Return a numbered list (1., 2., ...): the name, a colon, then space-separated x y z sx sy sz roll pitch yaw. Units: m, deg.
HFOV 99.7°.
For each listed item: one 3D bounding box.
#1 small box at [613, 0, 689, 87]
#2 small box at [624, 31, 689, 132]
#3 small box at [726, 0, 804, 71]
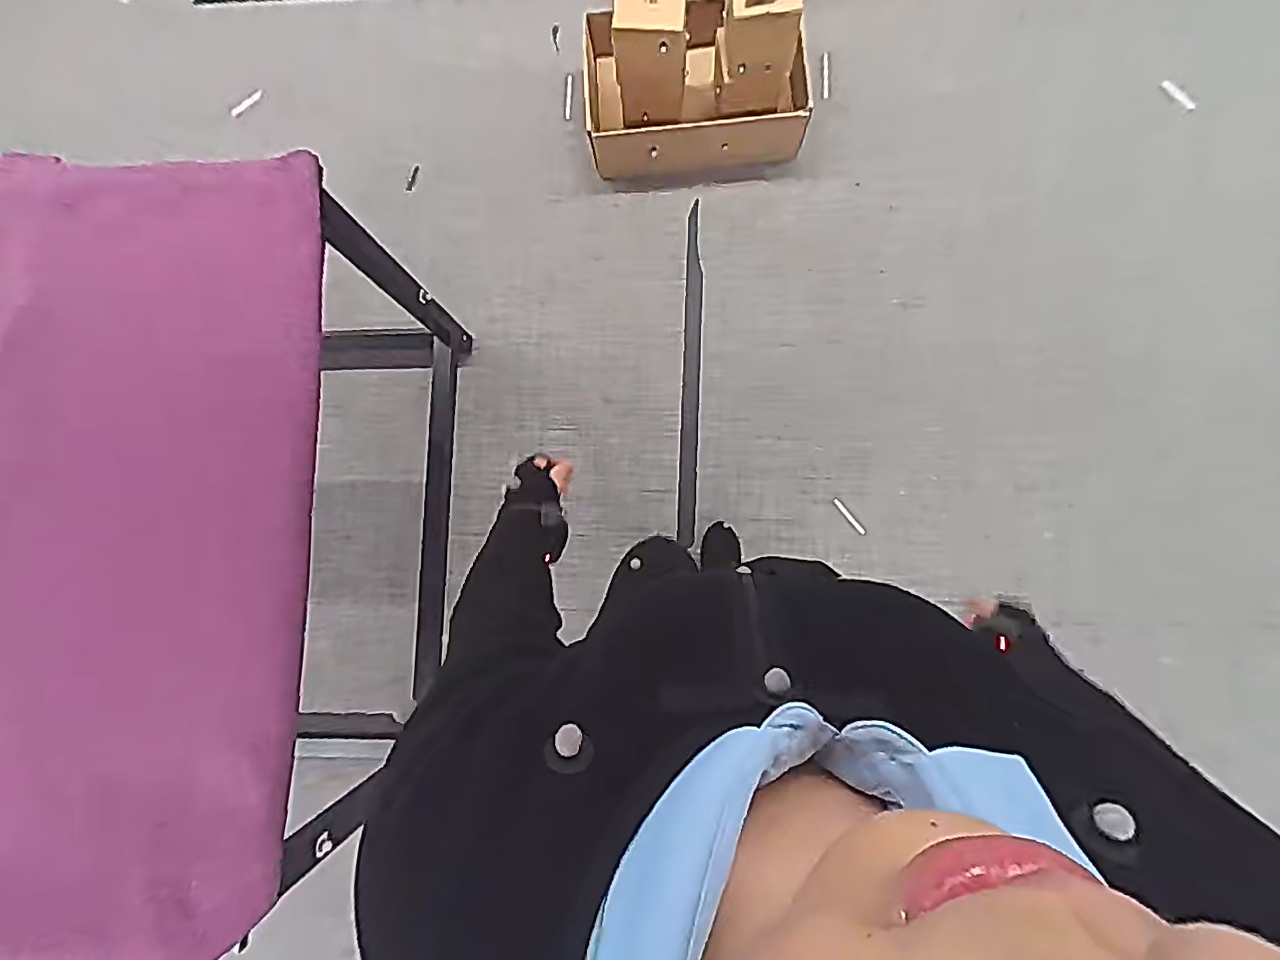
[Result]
1. small box: 0.032 -1.151 1.387 0.179 0.176 0.168 5 82 4
2. small box: 0.045 -1.147 1.553 0.168 0.176 0.179 7 83 4
3. small box: 0.310 -1.177 1.369 0.168 0.176 0.179 -3 81 4
